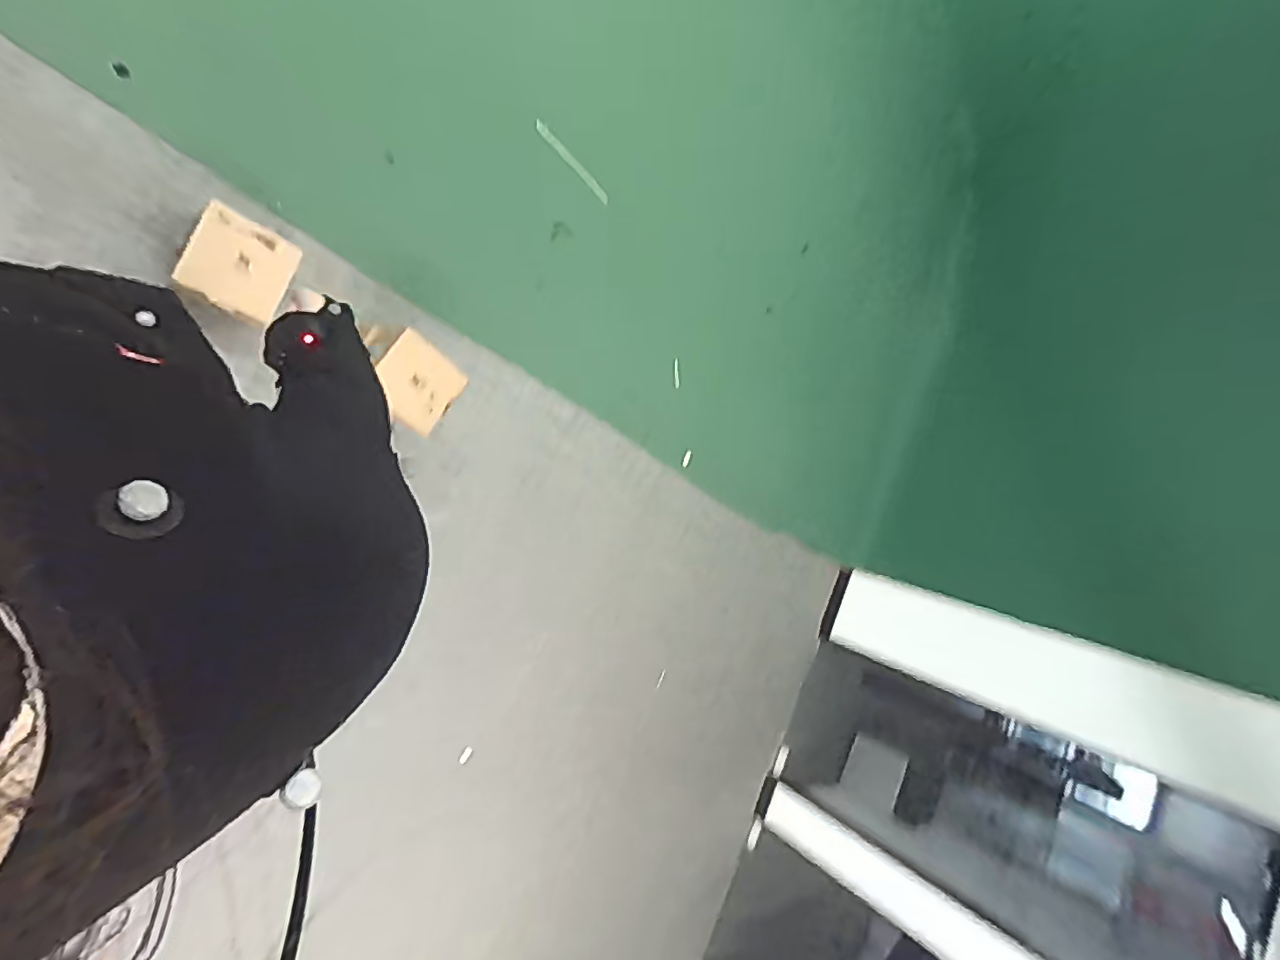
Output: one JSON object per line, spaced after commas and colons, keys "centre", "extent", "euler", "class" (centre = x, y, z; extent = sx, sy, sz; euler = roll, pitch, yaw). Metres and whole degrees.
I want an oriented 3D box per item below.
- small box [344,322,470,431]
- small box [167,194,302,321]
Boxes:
{"centre": [-0.530, -0.234, 1.222], "extent": [0.179, 0.176, 0.168], "euler": [44, 72, -42], "class": "small box"}
{"centre": [-0.832, -0.442, 1.108], "extent": [0.168, 0.176, 0.179], "euler": [27, 82, -44], "class": "small box"}
